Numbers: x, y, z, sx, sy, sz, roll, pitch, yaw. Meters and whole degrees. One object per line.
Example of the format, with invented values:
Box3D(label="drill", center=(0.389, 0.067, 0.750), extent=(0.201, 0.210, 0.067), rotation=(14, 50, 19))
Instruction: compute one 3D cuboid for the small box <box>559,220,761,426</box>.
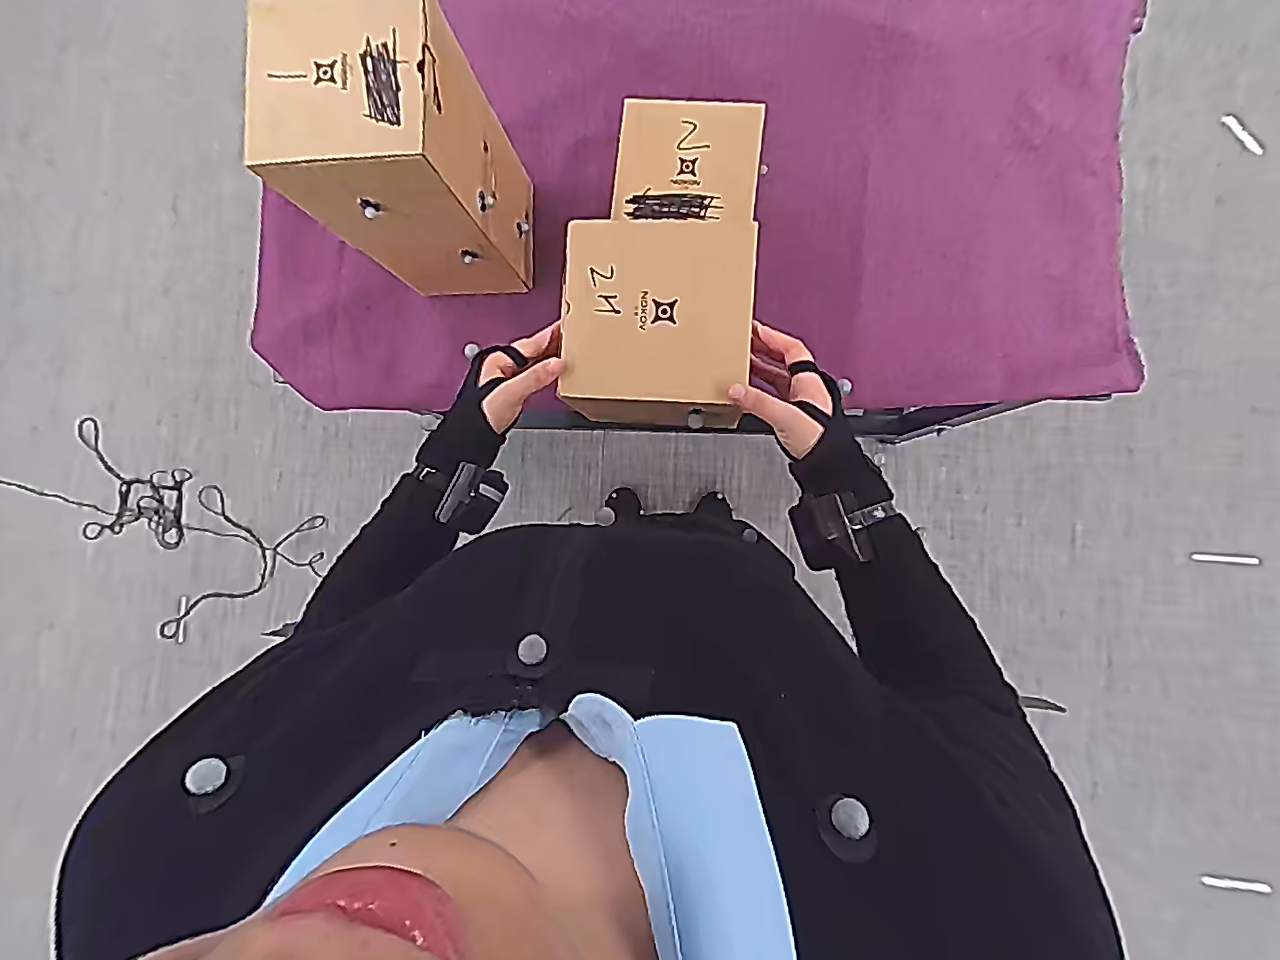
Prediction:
Box3D(label="small box", center=(0.025, -0.150, 0.569), extent=(0.179, 0.176, 0.168), rotation=(4, 88, 7))

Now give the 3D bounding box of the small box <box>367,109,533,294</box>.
Box3D(label="small box", center=(-0.256, -0.364, 0.739), extent=(0.179, 0.176, 0.168), rotation=(0, 88, 4))

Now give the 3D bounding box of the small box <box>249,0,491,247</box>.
Box3D(label="small box", center=(-0.269, -0.366, 0.575), extent=(0.179, 0.176, 0.168), rotation=(-1, 87, 6))
